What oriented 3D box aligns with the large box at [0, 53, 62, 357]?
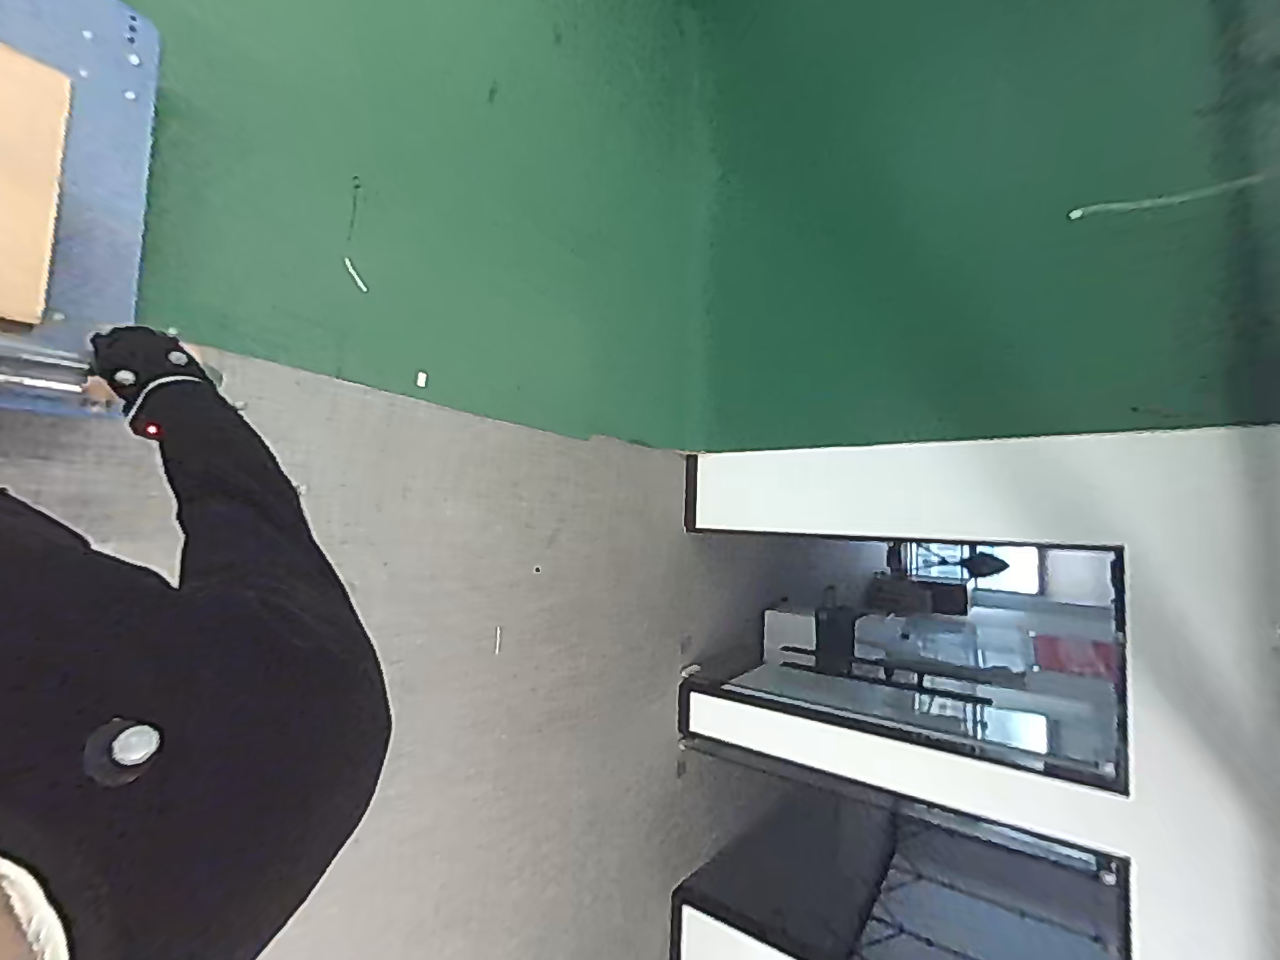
[{"bbox_3d":[-1.119,-0.433,0.802,0.320,0.320,0.408,7,82,-55],"label":"large box"}]
